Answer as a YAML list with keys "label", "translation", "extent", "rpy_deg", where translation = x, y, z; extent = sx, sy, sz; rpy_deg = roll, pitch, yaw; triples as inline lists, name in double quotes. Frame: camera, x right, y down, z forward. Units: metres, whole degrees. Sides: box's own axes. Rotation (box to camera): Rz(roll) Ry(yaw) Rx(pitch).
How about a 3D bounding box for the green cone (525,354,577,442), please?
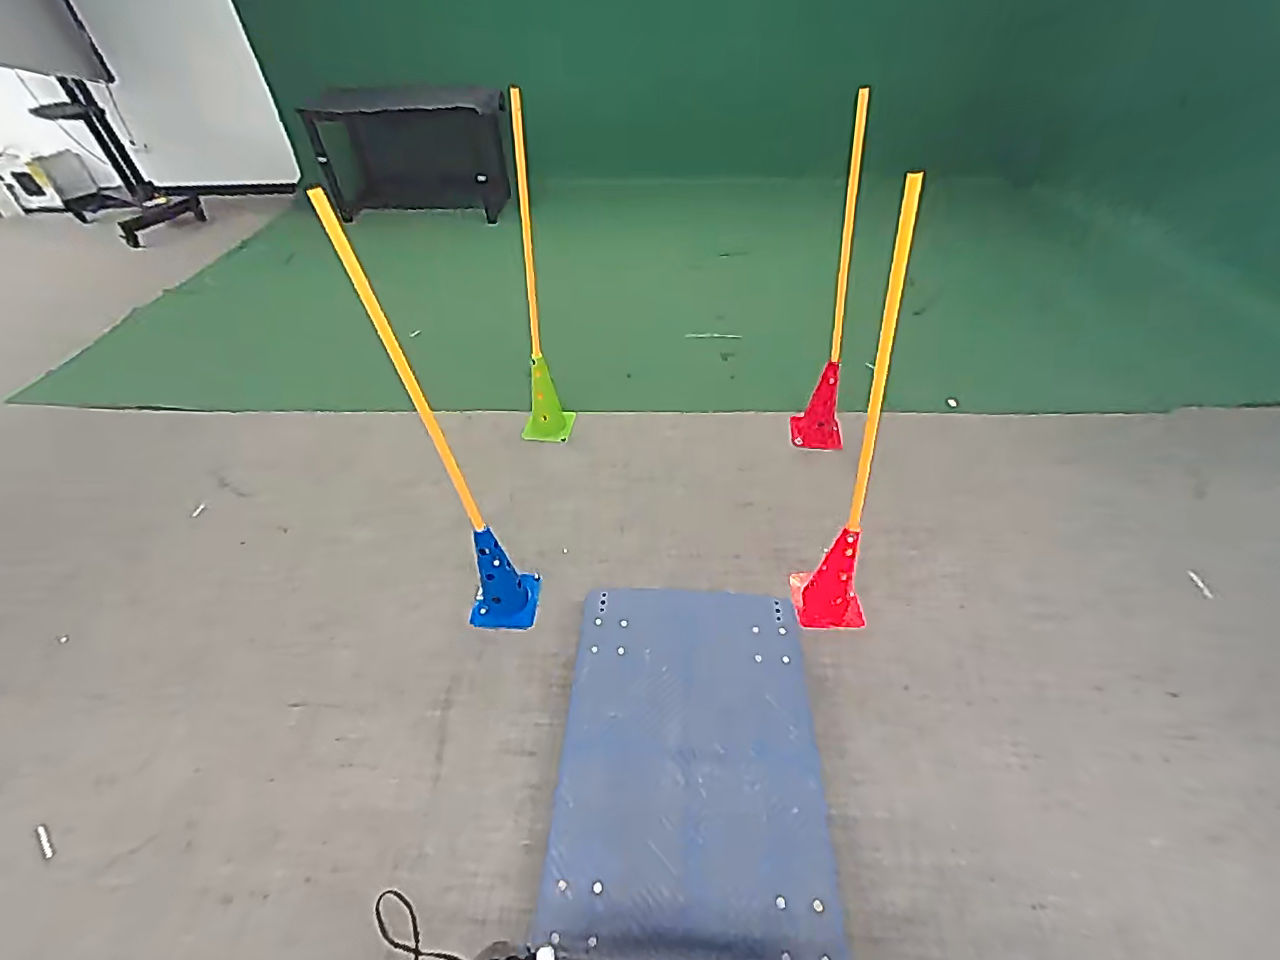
- label: "green cone"
  translation: [-0.393, -0.355, 2.242]
  extent: [0.202, 0.368, 0.200]
  rpy_deg: [3, 44, 7]

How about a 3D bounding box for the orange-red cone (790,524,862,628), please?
- label: "orange-red cone"
  translation: [0.576, 0.259, 1.591]
  extent: [0.199, 0.360, 0.198]
  rpy_deg: [-1, 44, 4]
